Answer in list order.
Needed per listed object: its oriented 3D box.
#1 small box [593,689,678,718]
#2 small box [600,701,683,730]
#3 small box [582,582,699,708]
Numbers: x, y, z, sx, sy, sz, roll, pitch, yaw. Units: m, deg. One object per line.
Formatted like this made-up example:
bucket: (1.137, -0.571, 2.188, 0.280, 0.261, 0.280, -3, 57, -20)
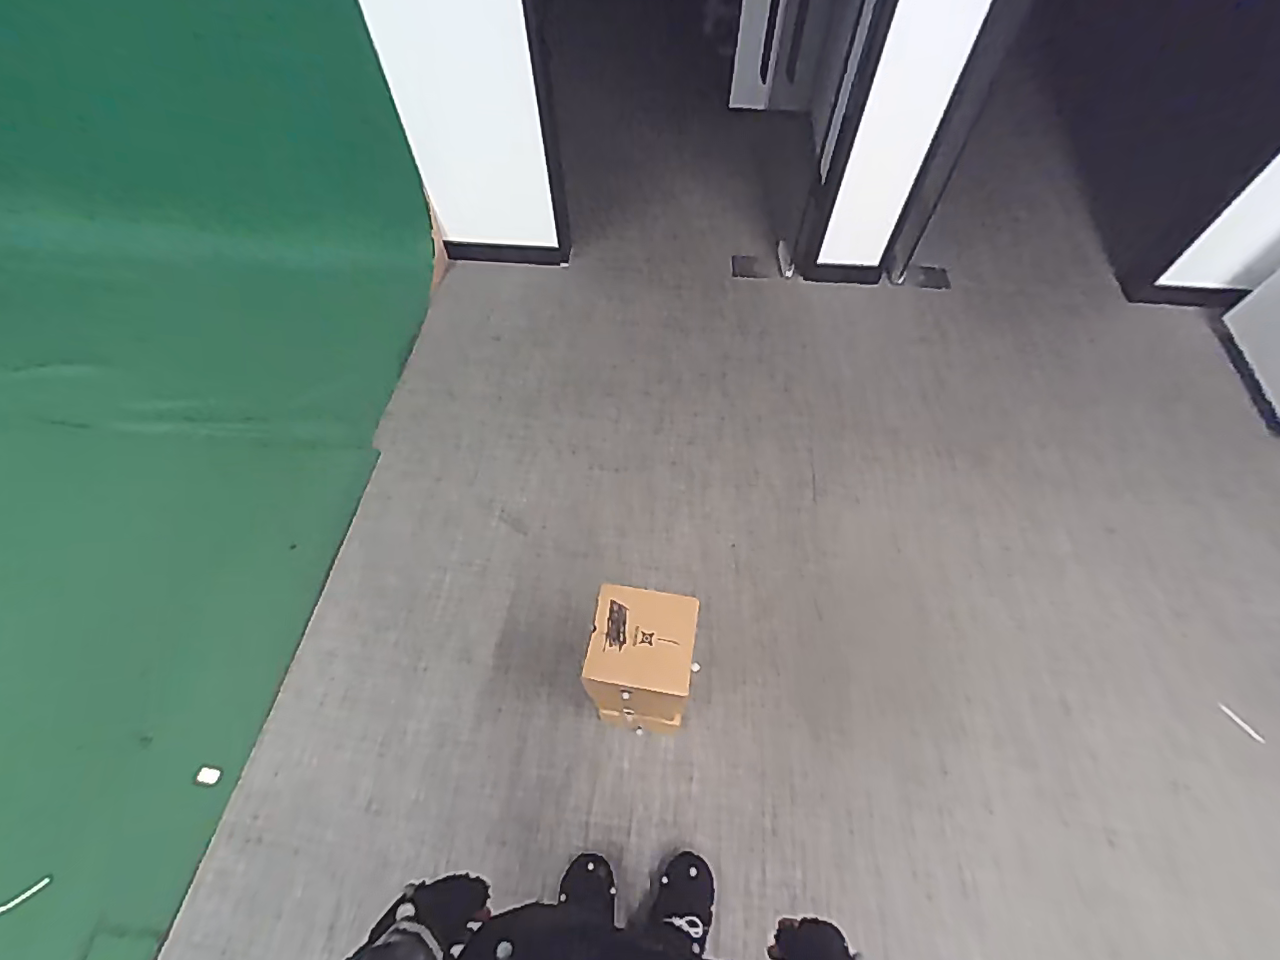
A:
small box: (0.005, 0.380, 1.122, 0.168, 0.176, 0.179, 6, 60, 6)
small box: (0.012, 0.475, 1.255, 0.179, 0.176, 0.168, 8, 59, 5)
small box: (0.006, 0.303, 0.977, 0.179, 0.176, 0.168, 8, 59, 6)
